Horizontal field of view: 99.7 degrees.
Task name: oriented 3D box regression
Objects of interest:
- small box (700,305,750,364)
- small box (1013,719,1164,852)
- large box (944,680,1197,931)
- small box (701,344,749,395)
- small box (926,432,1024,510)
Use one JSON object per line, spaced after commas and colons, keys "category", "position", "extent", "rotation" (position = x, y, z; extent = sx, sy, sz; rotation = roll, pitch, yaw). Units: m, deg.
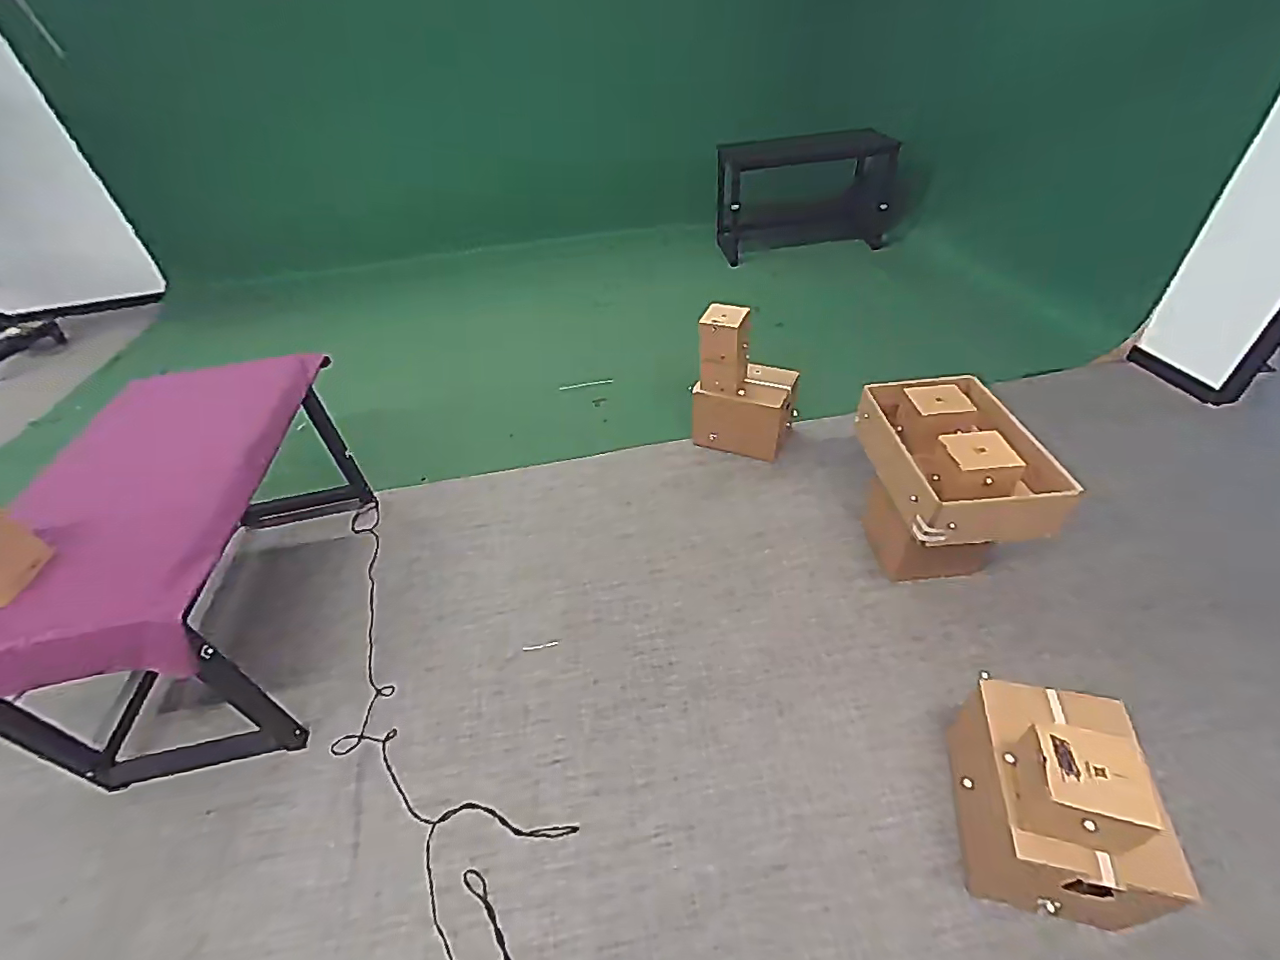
{"category": "small box", "position": [0.355, -0.615, 2.274], "extent": [0.168, 0.176, 0.179], "rotation": [15, 46, 21]}
{"category": "small box", "position": [0.883, 0.618, 1.091], "extent": [0.179, 0.176, 0.168], "rotation": [8, 44, 17]}
{"category": "large box", "position": [0.964, 0.762, 1.290], "extent": [0.320, 0.320, 0.408], "rotation": [6, 42, 13]}
{"category": "small box", "position": [0.373, -0.501, 2.391], "extent": [0.168, 0.176, 0.179], "rotation": [15, 47, 22]}
{"category": "small box", "position": [1.003, -0.025, 1.635], "extent": [0.179, 0.176, 0.168], "rotation": [-5, 42, 3]}
